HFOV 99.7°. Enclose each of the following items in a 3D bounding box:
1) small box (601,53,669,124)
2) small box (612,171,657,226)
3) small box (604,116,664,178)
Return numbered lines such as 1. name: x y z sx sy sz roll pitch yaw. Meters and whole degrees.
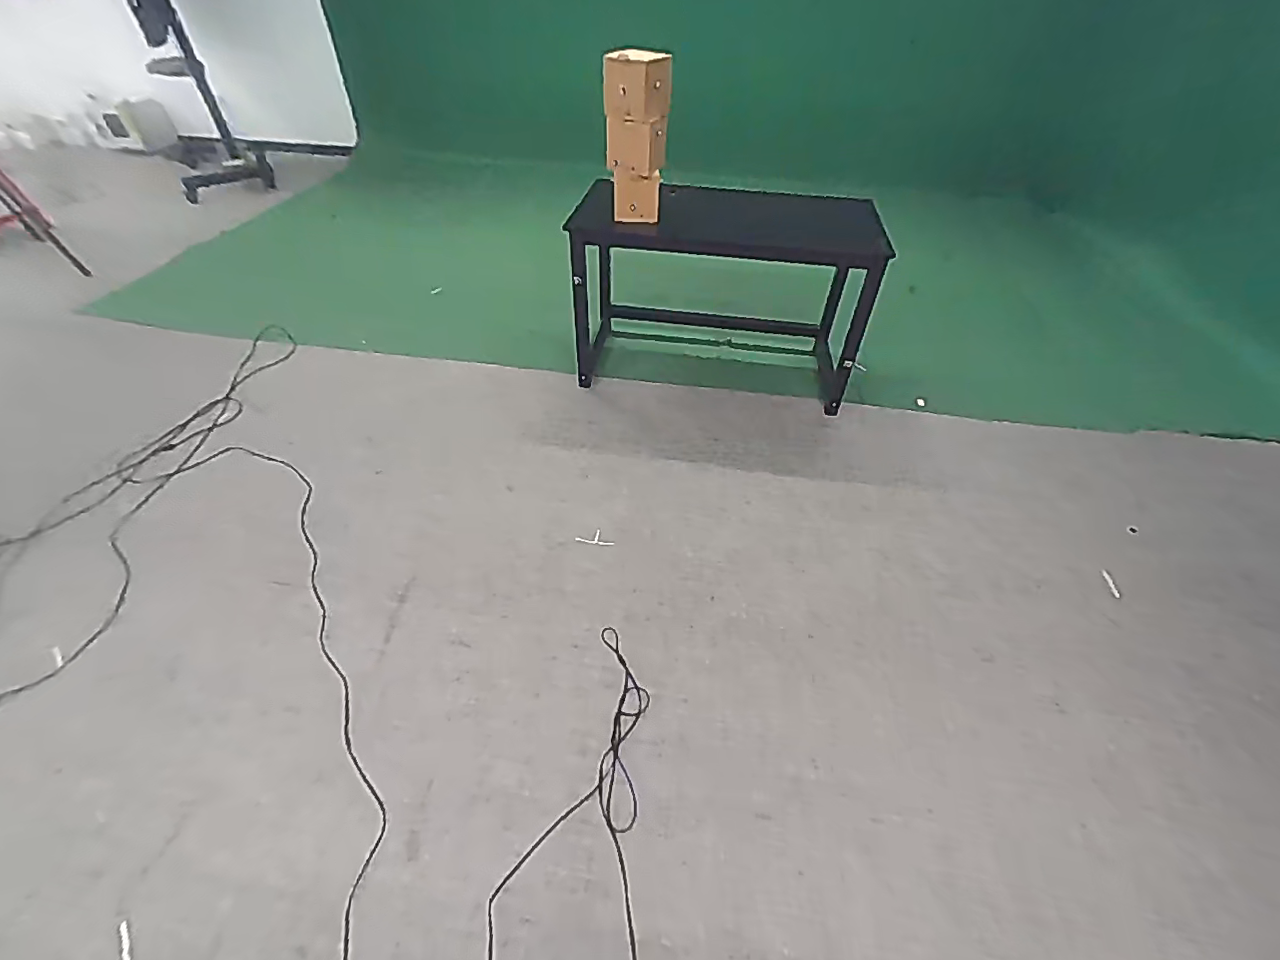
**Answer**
1. small box: -0.016 -1.335 1.845 0.168 0.176 0.179 26 51 20
2. small box: -0.021 -1.096 2.071 0.168 0.176 0.179 2 46 -1
3. small box: -0.020 -1.214 1.956 0.168 0.176 0.179 17 46 14
